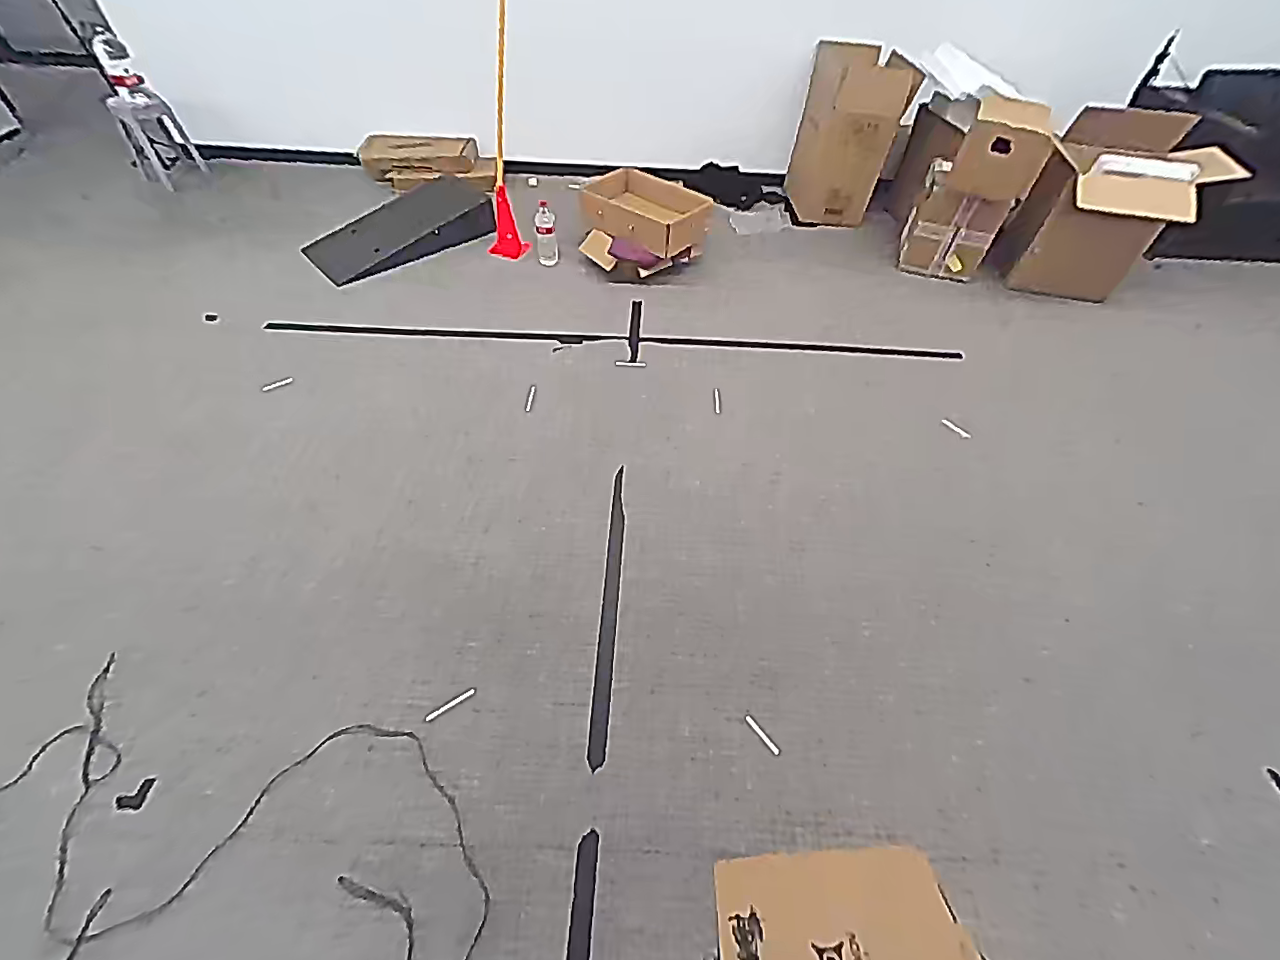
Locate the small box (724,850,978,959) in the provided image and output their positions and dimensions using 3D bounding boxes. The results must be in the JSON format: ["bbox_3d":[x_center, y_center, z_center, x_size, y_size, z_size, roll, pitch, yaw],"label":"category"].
[{"bbox_3d":[0.165,0.424,0.410,0.179,0.176,0.168,-8,14,6],"label":"small box"}]
